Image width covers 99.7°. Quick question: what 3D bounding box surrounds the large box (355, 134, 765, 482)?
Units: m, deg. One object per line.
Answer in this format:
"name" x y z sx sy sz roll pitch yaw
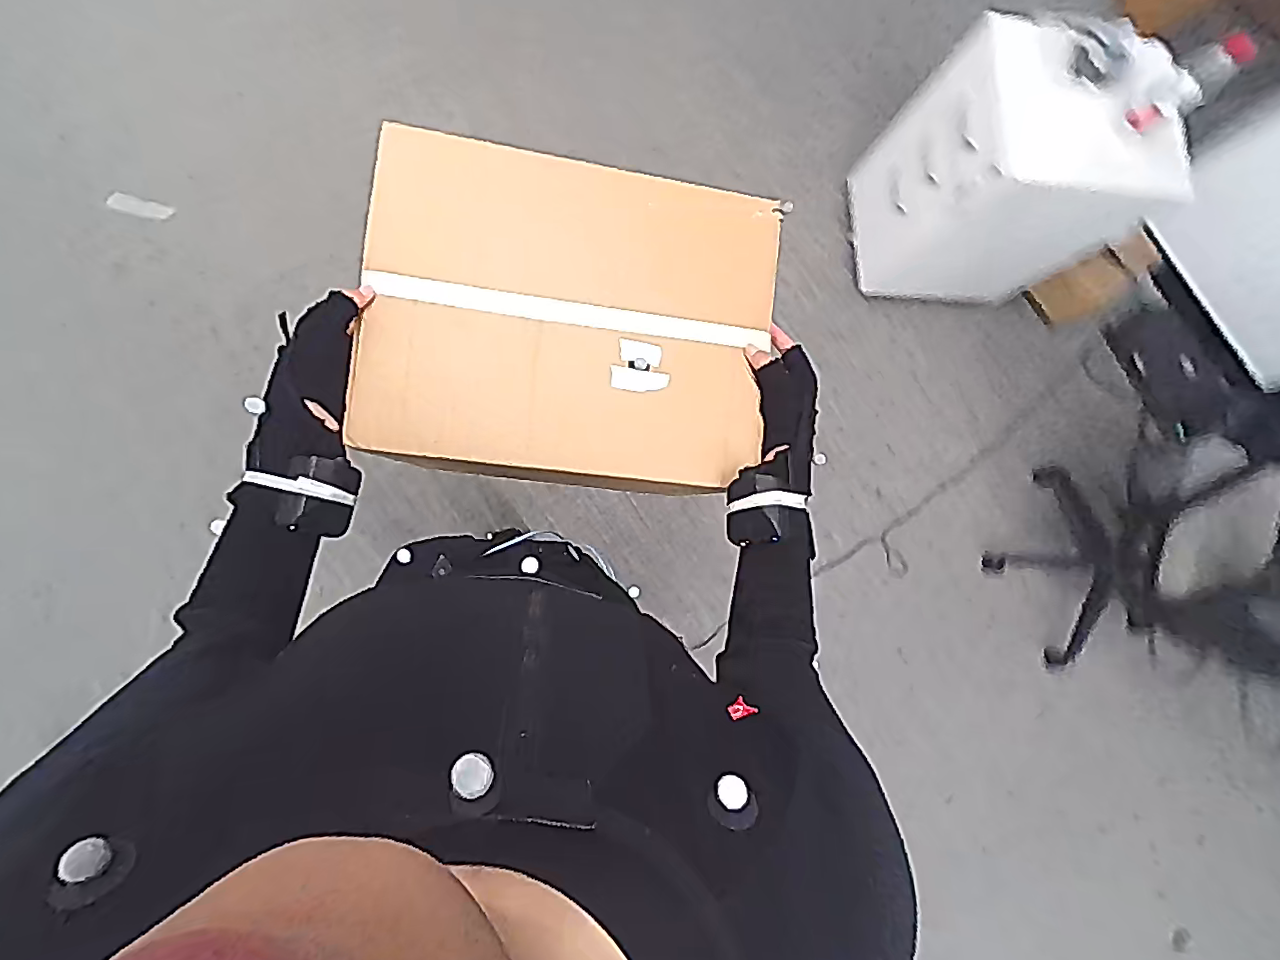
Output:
"large box" -0.095 -0.167 0.697 0.408 0.320 0.320 5 88 -10
